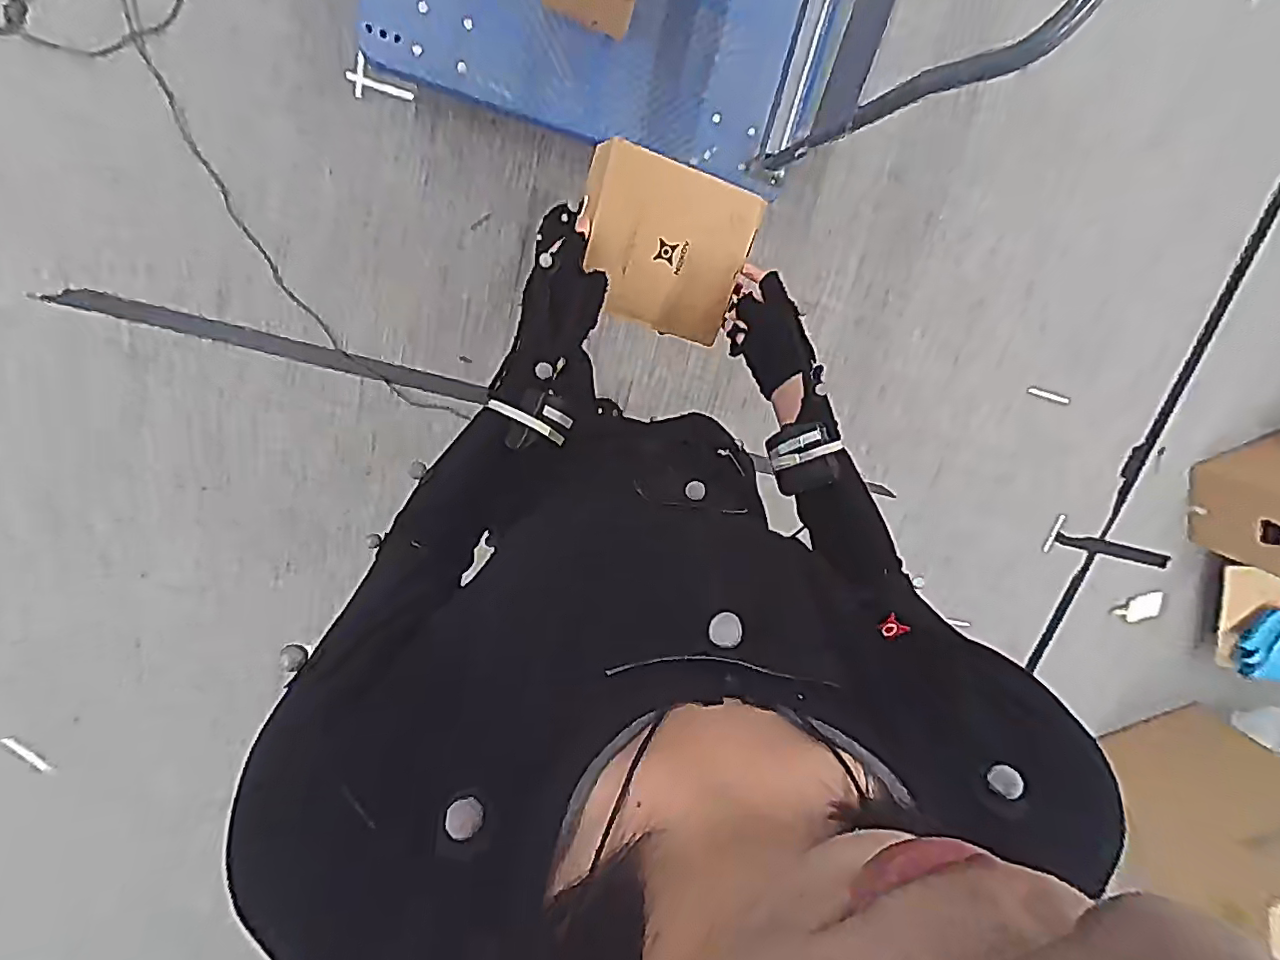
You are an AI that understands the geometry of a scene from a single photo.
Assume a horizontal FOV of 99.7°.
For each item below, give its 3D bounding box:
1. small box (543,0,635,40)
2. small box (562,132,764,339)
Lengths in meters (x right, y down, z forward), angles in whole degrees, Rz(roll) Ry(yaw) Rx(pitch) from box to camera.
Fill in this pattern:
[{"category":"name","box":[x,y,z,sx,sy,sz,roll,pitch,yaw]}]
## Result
[{"category":"small box","box":[-0.074,-0.917,0.927,0.168,0.176,0.179,13,105,-13]},{"category":"small box","box":[0.013,-0.289,0.648,0.179,0.176,0.168,12,114,-18]}]
